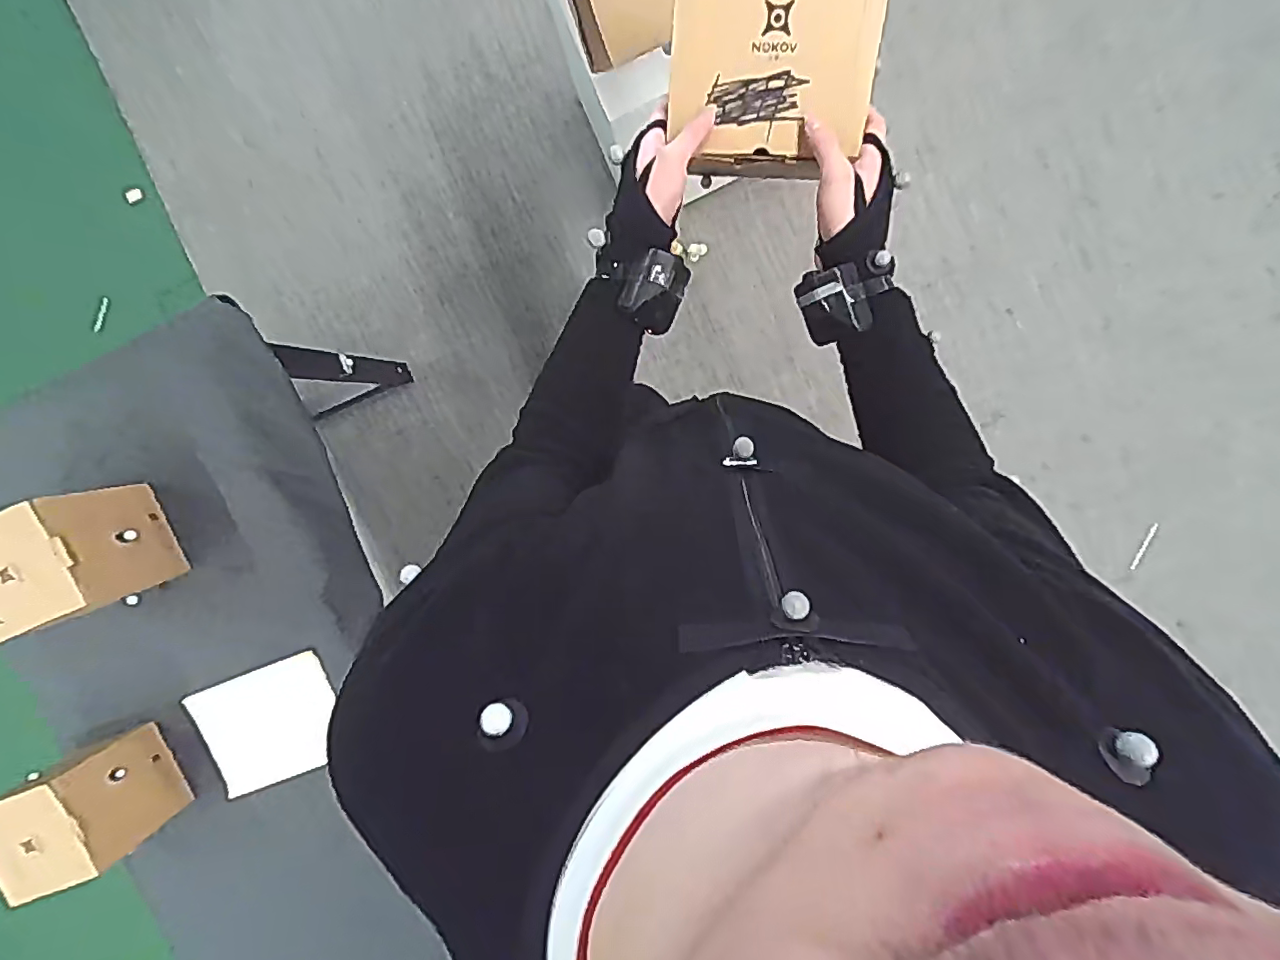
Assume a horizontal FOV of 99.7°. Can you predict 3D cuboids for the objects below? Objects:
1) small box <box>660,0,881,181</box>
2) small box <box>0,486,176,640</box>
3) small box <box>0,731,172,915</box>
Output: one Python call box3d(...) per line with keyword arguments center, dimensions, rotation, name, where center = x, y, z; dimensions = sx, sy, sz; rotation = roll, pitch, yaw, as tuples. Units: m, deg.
box3d(center=(0.115, -0.386, 0.503), dimensions=(0.168, 0.176, 0.179), rotation=(6, 114, 5), name="small box")
box3d(center=(-0.878, 0.119, 0.837), dimensions=(0.179, 0.176, 0.168), rotation=(-22, 95, 5), name="small box")
box3d(center=(-0.925, 0.546, 0.883), dimensions=(0.179, 0.176, 0.168), rotation=(-23, 95, 7), name="small box")
